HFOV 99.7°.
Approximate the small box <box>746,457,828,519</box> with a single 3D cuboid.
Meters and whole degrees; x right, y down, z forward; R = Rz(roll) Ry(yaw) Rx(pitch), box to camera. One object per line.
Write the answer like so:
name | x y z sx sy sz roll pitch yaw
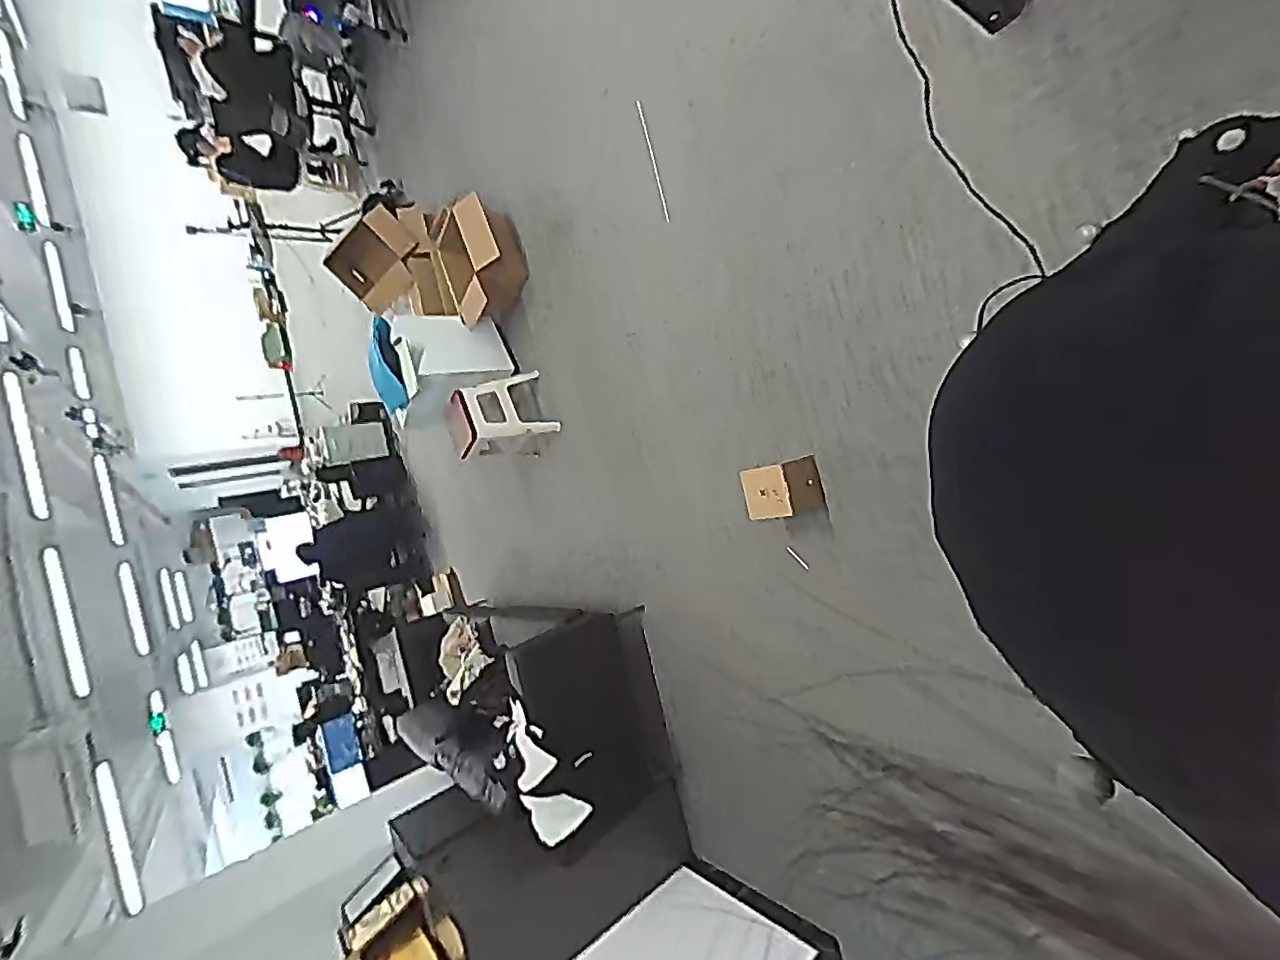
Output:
small box | 0.476 0.027 1.755 0.179 0.176 0.168 -13 91 53
